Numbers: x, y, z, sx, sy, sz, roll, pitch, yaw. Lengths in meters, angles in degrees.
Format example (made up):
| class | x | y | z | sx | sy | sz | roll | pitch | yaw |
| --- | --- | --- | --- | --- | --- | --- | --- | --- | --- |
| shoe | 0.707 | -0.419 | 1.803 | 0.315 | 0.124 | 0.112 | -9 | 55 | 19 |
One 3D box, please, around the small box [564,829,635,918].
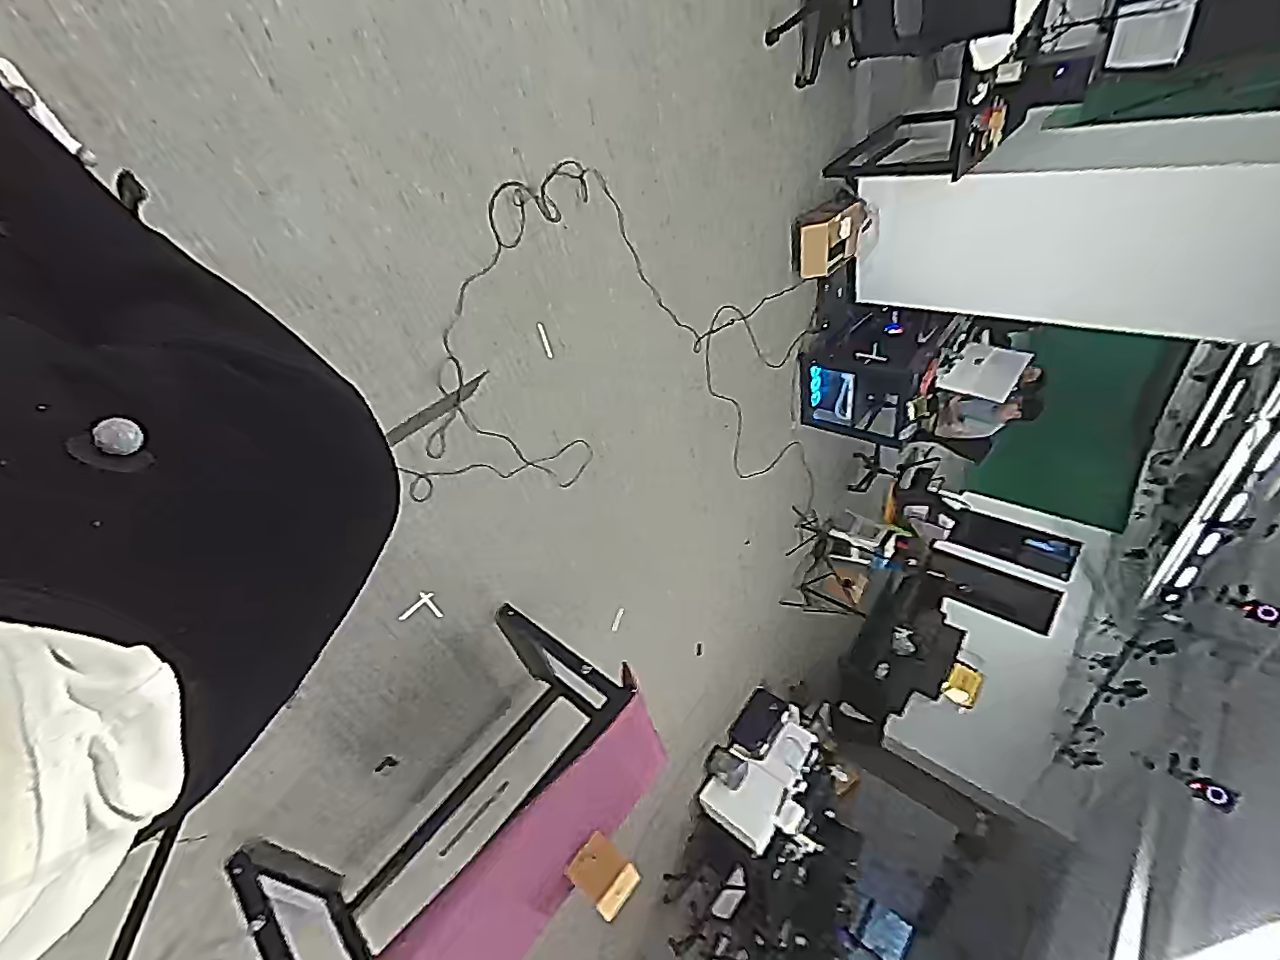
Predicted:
| class | x | y | z | sx | sy | sz | roll | pitch | yaw |
| --- | --- | --- | --- | --- | --- | --- | --- | --- | --- |
| small box | -0.143 | 1.384 | 1.909 | 0.168 | 0.176 | 0.179 | -41 | 135 | -31 |
